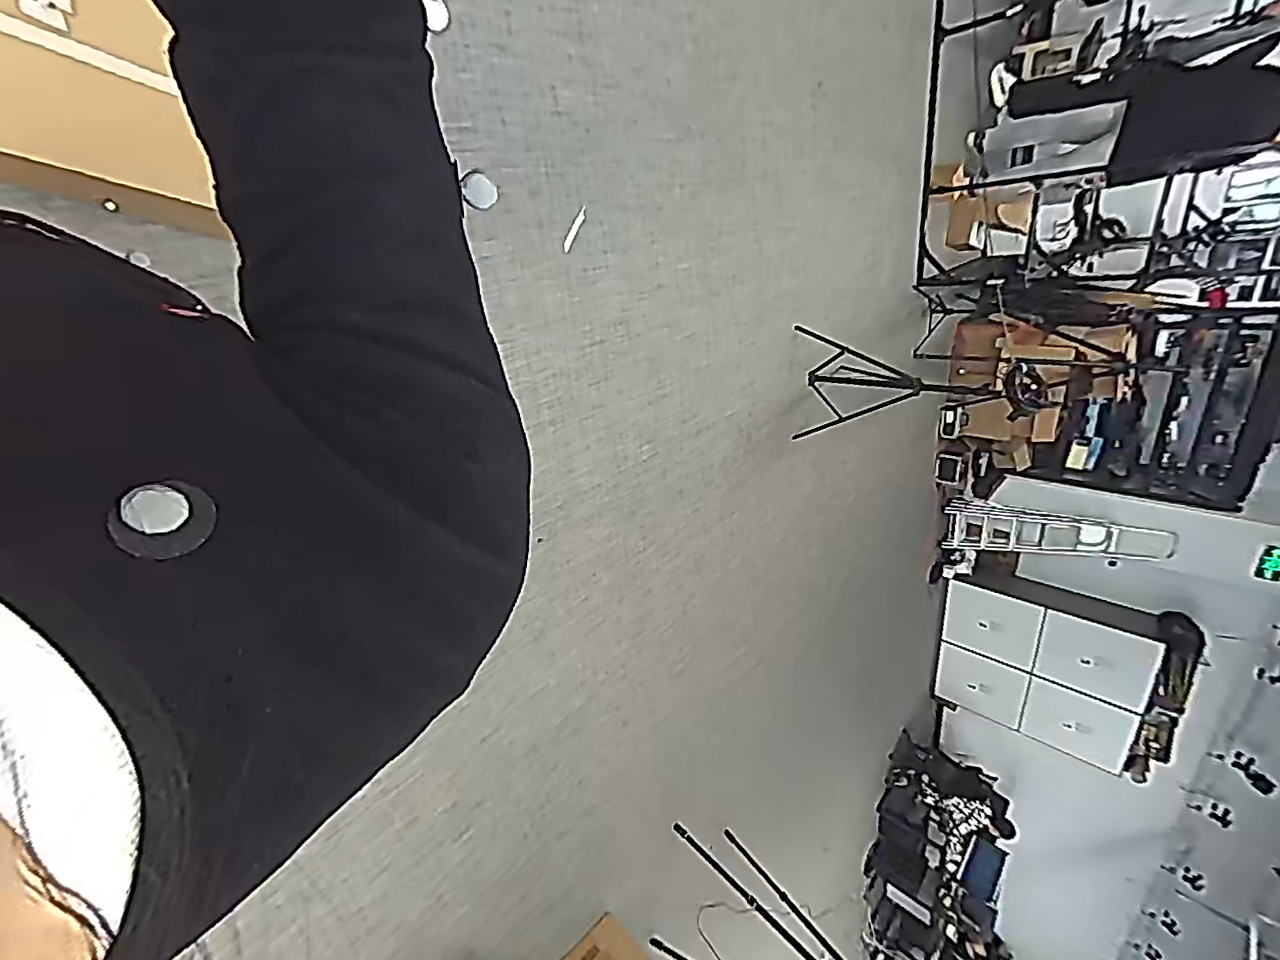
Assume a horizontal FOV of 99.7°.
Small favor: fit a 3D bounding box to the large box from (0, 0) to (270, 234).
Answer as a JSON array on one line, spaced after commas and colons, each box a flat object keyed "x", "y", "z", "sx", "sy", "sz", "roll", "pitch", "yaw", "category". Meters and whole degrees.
[{"x": -0.878, "y": -0.629, "z": 0.888, "sx": 0.408, "sy": 0.320, "sz": 0.320, "roll": -2, "pitch": 102, "yaw": -45, "category": "large box"}]
